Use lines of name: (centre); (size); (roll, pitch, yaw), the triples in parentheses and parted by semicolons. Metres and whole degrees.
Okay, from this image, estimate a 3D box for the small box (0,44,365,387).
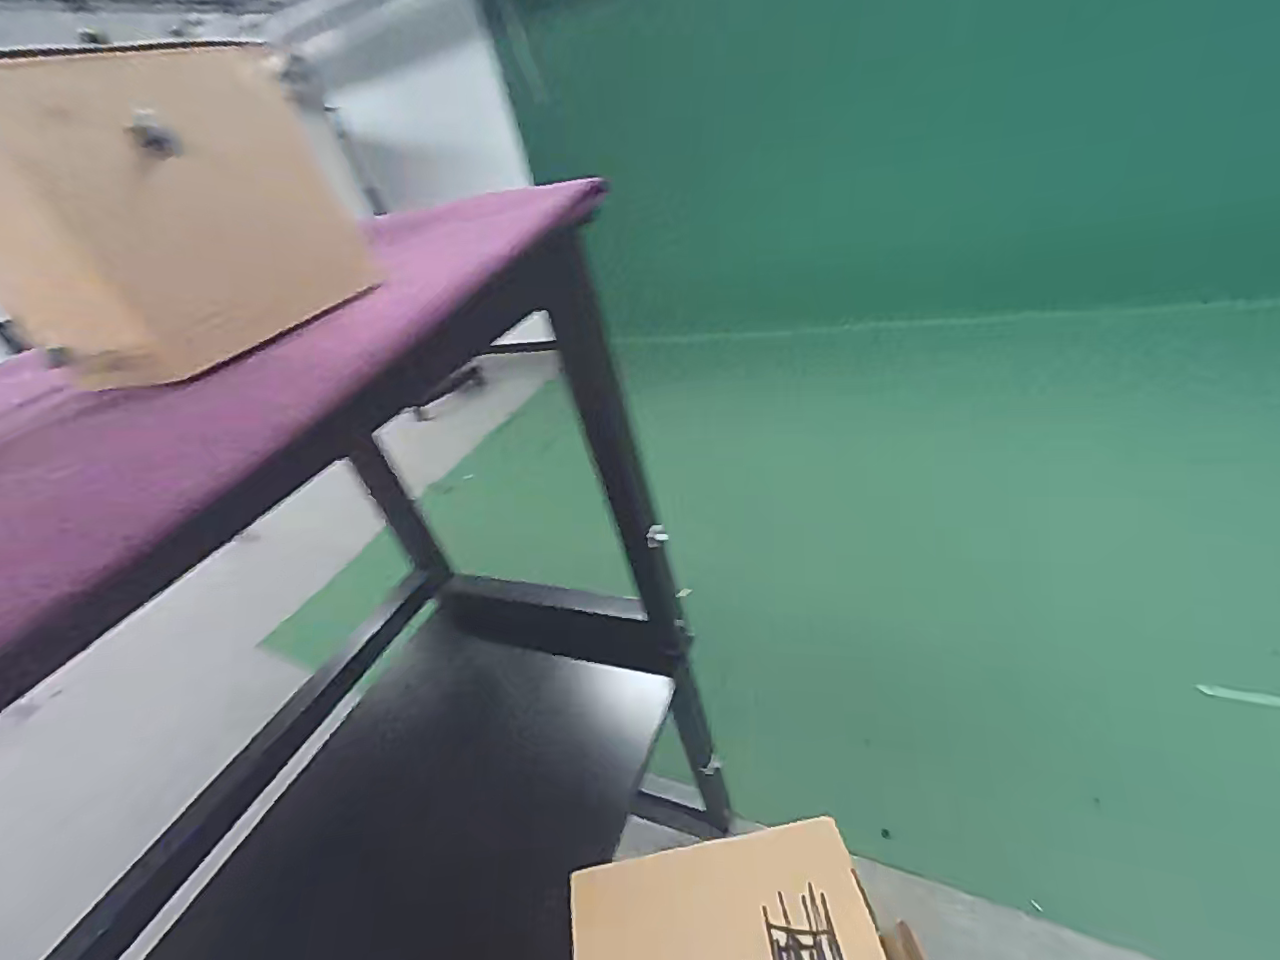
small box: (-0.345, -0.175, 0.386); (0.168, 0.176, 0.179); (2, 38, 28)
